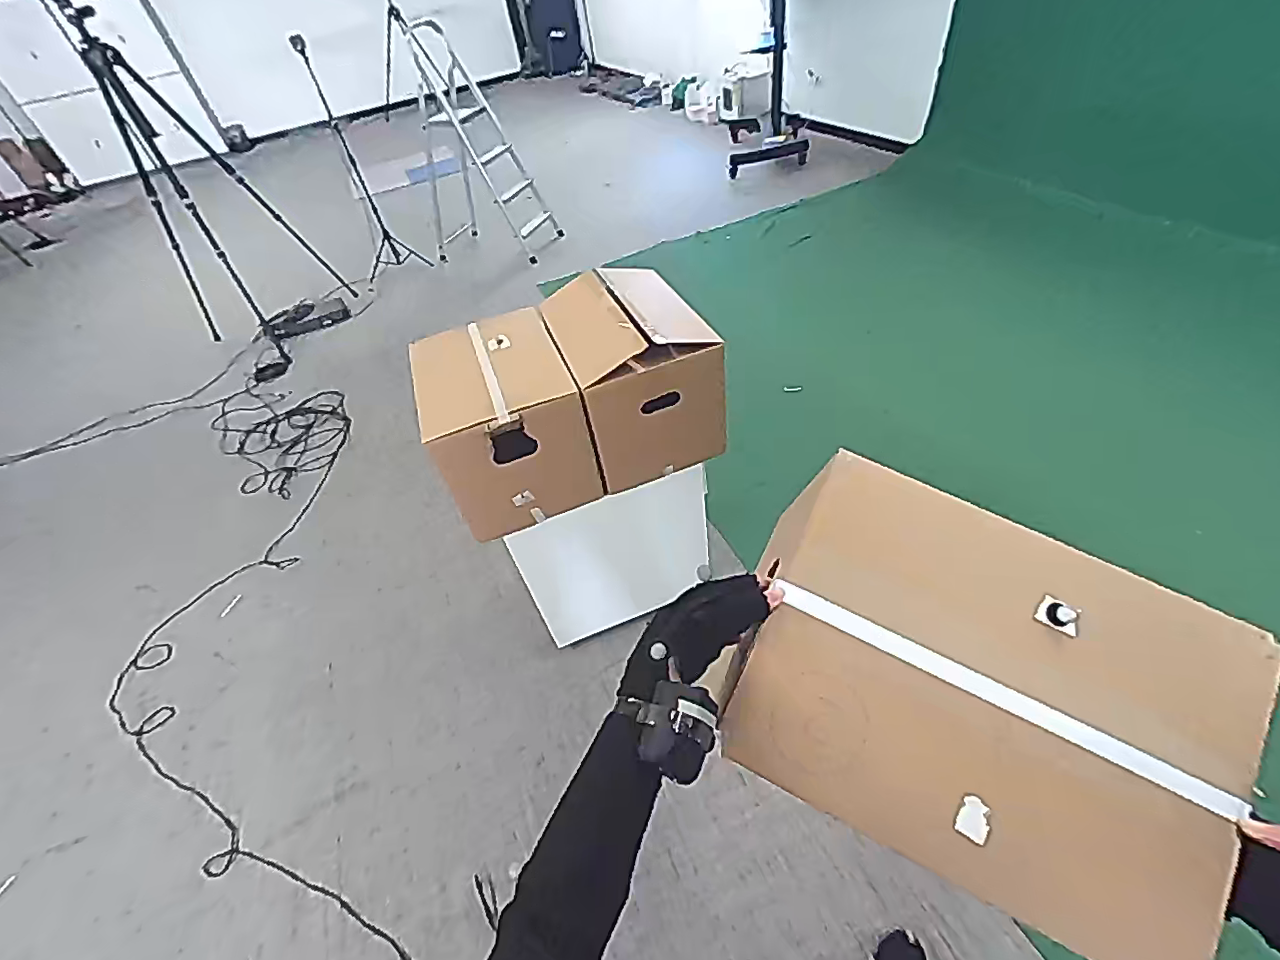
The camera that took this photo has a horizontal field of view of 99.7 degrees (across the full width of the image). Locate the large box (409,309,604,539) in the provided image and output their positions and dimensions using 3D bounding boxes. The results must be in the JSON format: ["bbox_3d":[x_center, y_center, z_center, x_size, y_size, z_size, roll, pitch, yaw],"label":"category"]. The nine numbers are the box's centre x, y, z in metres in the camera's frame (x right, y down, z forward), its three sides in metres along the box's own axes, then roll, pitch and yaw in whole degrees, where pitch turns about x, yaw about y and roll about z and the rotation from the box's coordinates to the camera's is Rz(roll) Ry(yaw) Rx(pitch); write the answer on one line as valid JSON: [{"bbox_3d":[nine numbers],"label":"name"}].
[{"bbox_3d":[-0.312,-0.140,1.274,0.320,0.320,0.408,-20,45,-10],"label":"large box"}]
